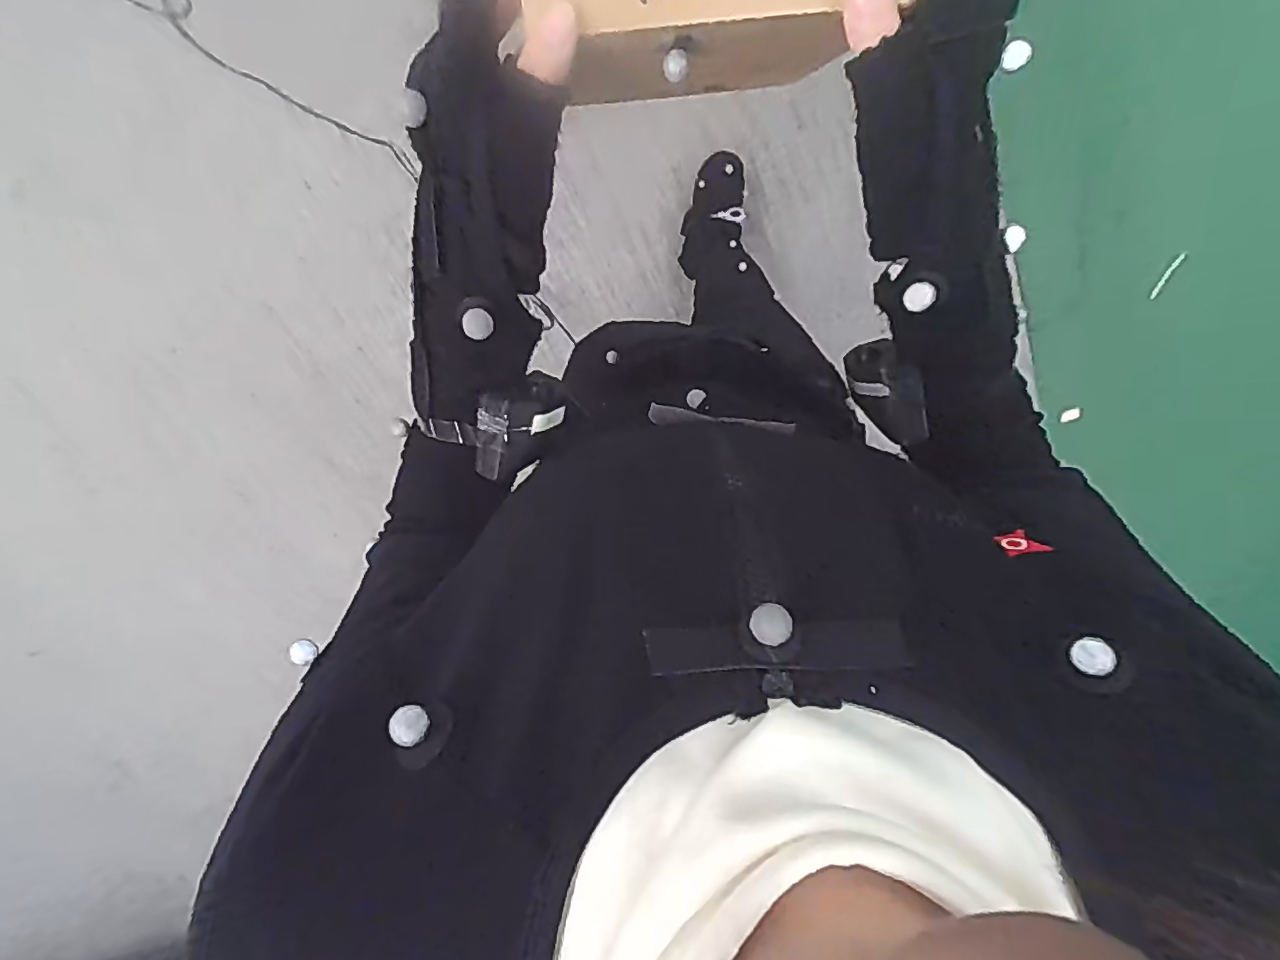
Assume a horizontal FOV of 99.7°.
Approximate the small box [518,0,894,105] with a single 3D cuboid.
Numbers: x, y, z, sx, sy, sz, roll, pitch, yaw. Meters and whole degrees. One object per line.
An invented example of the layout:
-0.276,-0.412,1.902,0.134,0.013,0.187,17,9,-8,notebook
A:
0.020,-0.305,0.257,0.168,0.176,0.179,-6,116,0,small box
